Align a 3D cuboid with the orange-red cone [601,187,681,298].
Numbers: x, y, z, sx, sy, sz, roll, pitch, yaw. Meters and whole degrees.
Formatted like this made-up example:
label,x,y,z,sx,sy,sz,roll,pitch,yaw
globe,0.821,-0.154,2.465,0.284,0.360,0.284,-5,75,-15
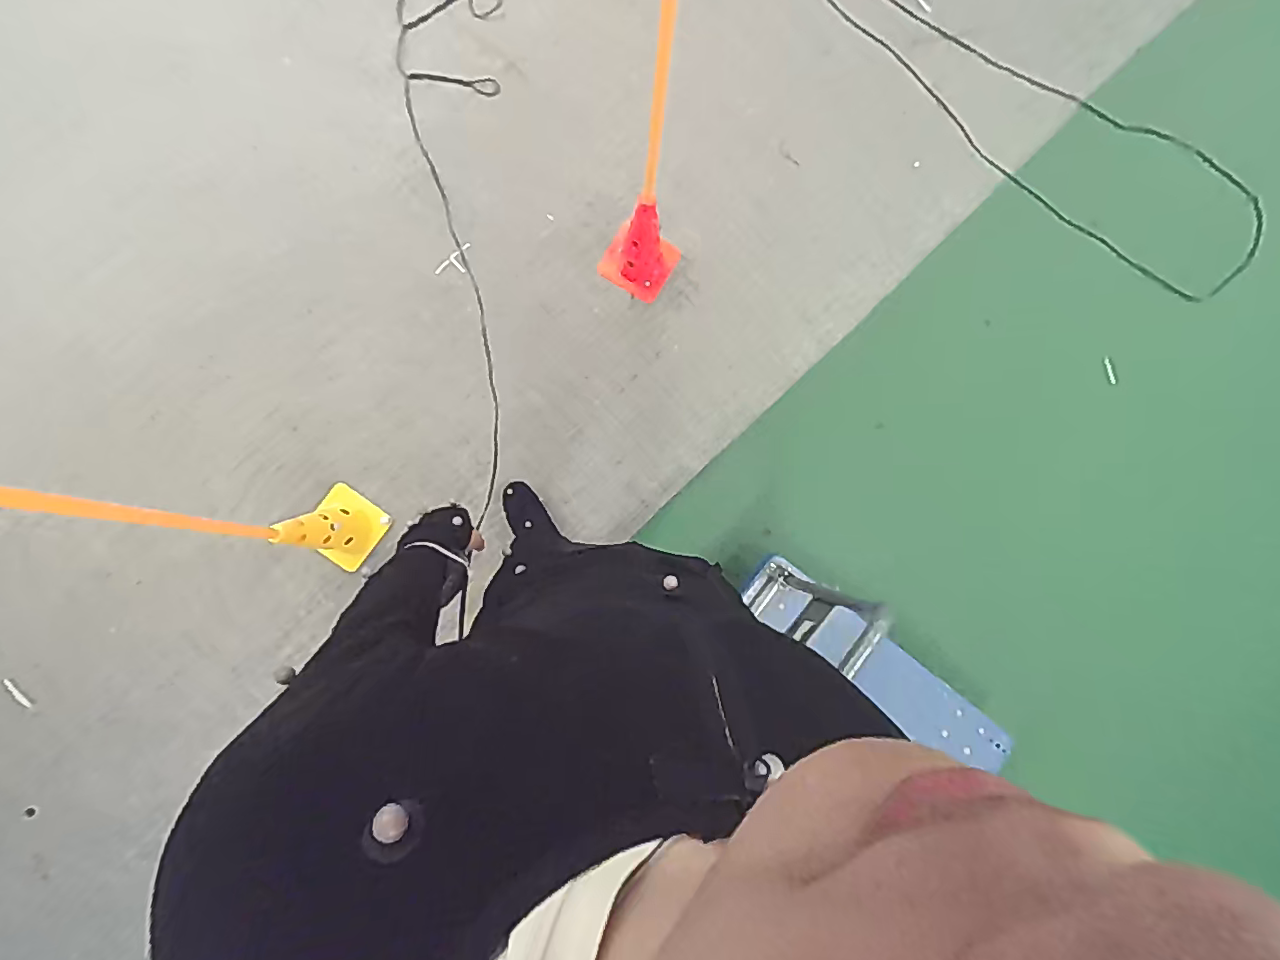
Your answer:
label,x,y,z,sx,sy,sz,roll,pitch,yaw
orange-red cone,0.017,-0.688,1.486,0.198,0.360,0.199,32,85,-2
